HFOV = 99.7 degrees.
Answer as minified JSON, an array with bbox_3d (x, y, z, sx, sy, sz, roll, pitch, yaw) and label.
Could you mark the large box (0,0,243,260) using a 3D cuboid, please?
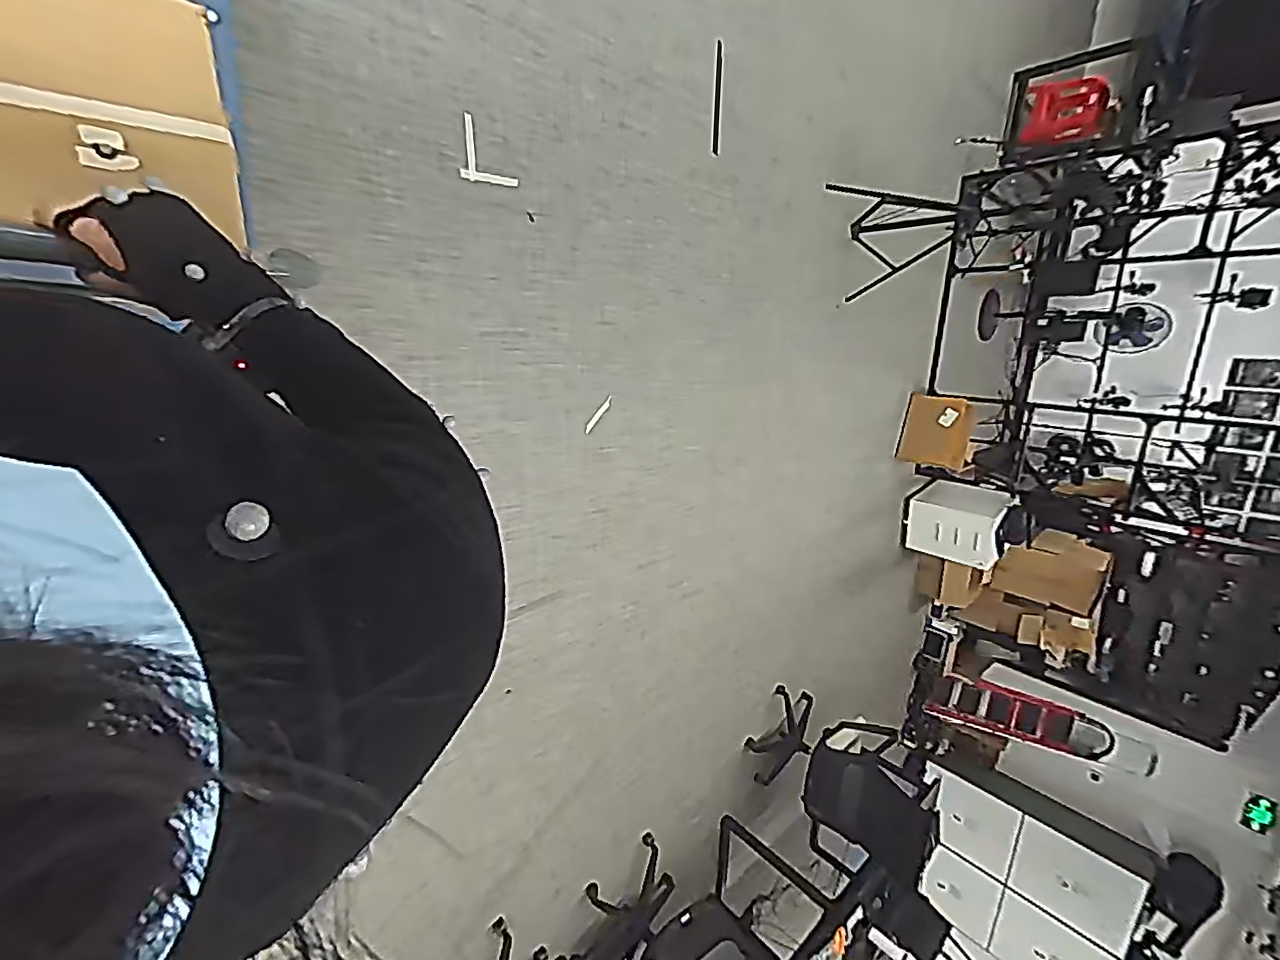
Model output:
[{"bbox_3d":[-0.848,-0.494,0.748,0.408,0.320,0.320,-14,112,-42],"label":"large box"}]
